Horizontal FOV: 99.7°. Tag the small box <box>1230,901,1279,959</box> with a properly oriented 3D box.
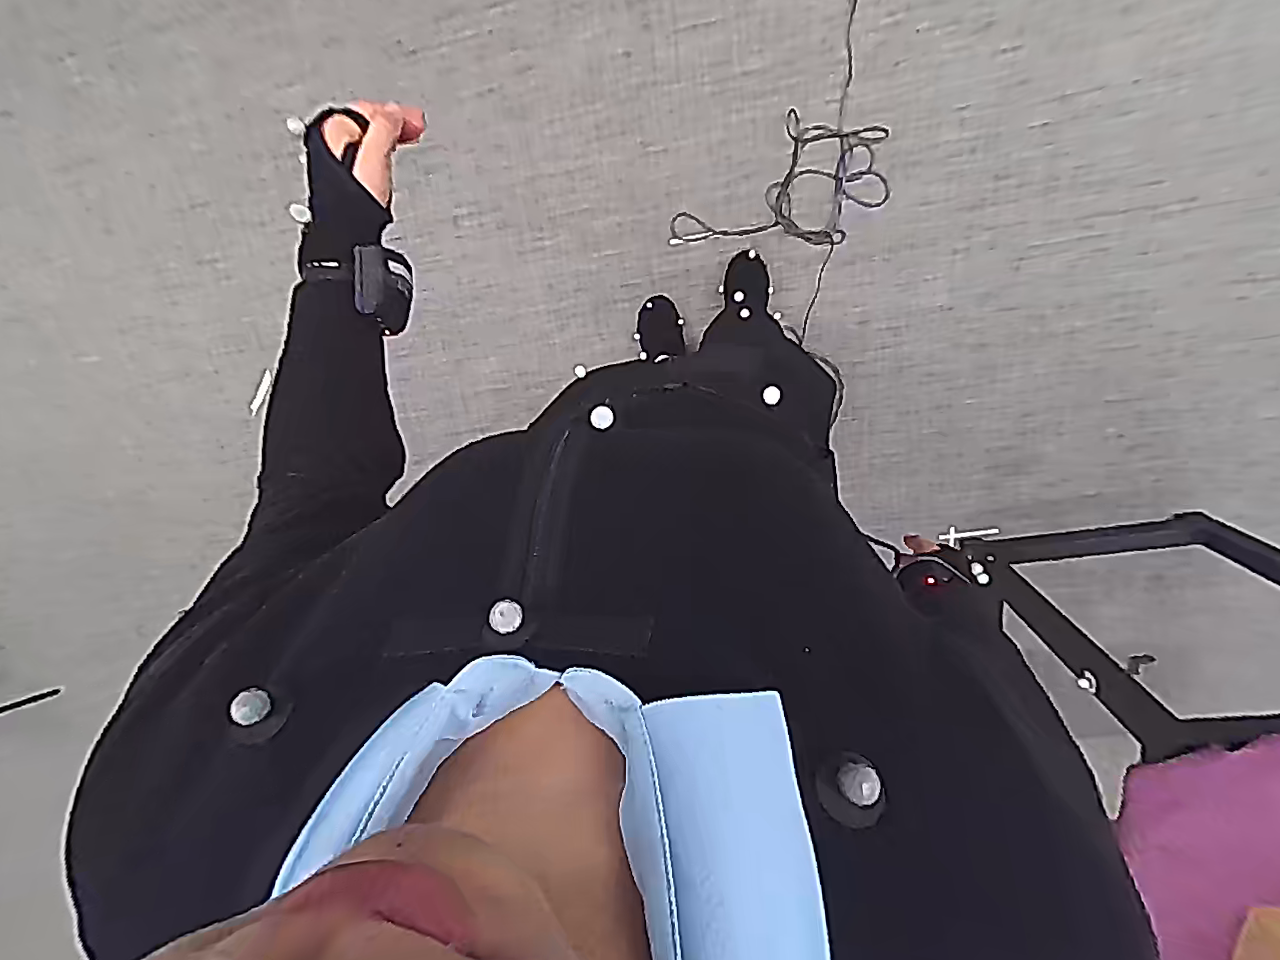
[{"bbox_3d":[1.084,0.796,0.832,0.168,0.176,0.179,-6,109,8],"label":"small box"}]
